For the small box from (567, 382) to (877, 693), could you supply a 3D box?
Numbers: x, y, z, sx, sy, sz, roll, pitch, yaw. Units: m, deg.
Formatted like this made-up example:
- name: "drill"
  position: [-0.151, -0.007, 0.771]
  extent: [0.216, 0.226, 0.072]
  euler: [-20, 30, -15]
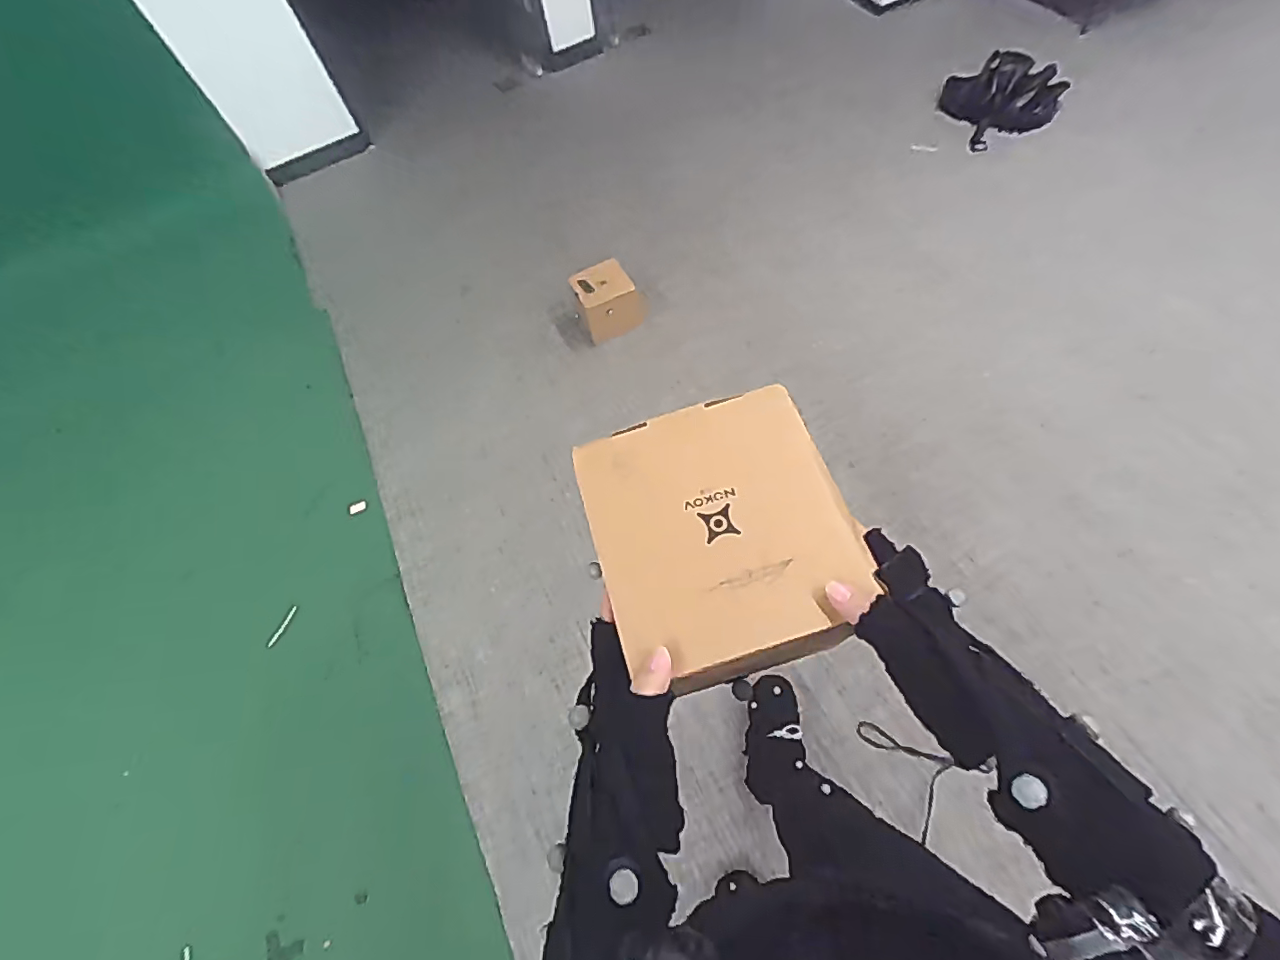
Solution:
- name: "small box"
  position: [0.053, 0.056, 0.432]
  extent: [0.168, 0.176, 0.179]
  euler: [-17, 65, 0]

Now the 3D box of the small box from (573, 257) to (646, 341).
- name: "small box"
  position: [-0.095, -0.591, 1.782]
  extent: [0.179, 0.176, 0.168]
  euler: [-25, 63, -5]
